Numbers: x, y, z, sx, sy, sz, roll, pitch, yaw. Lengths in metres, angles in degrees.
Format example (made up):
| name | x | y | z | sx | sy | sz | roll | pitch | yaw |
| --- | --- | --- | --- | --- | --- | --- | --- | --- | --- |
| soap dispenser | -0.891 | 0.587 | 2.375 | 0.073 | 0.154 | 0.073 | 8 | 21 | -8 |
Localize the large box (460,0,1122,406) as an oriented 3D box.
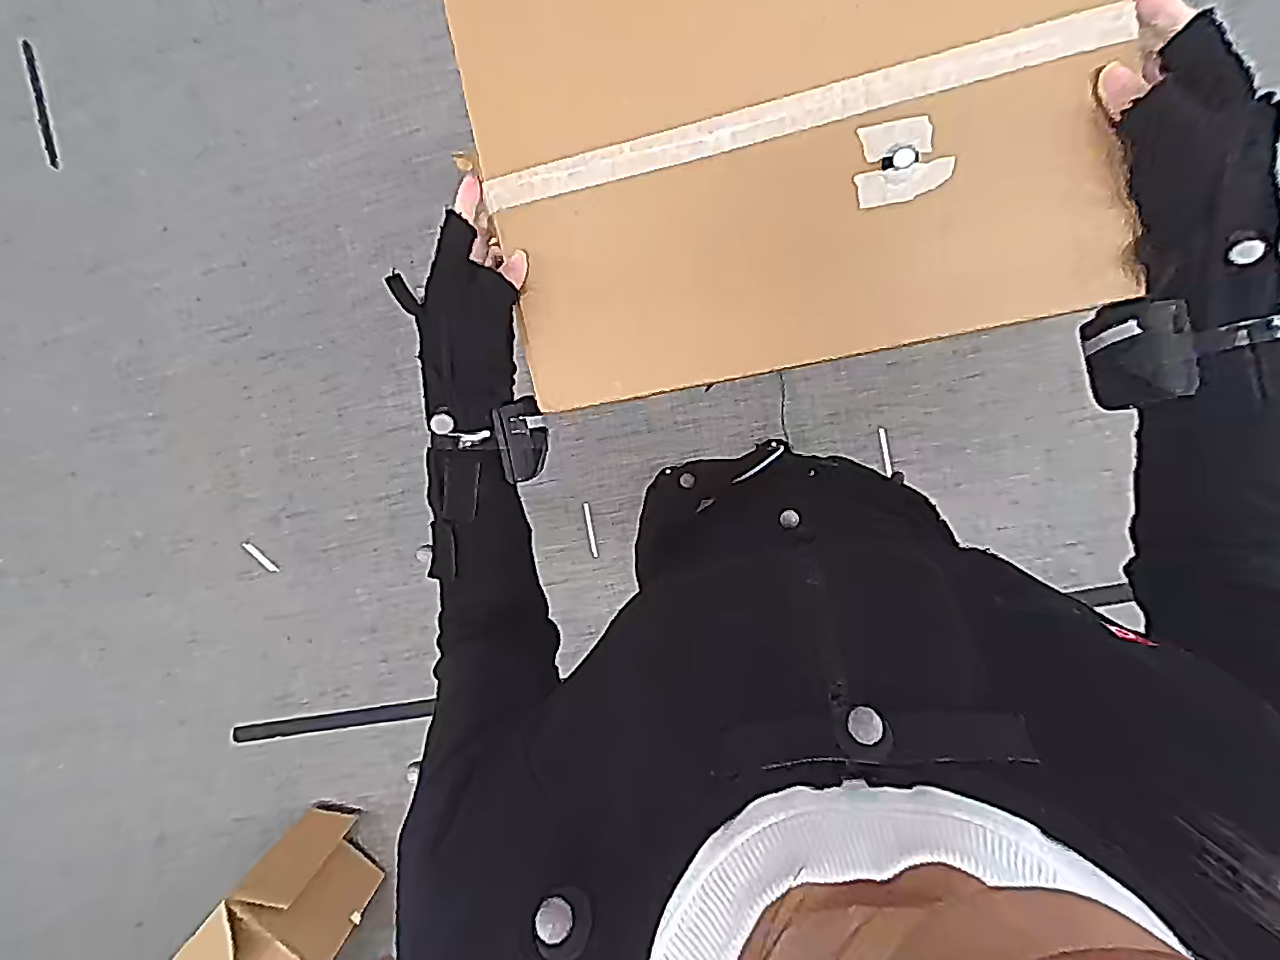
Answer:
| name | x | y | z | sx | sy | sz | roll | pitch | yaw |
| --- | --- | --- | --- | --- | --- | --- | --- | --- | --- |
| large box | 0.111 | -0.267 | 0.507 | 0.408 | 0.320 | 0.320 | -10 | 101 | 8 |
